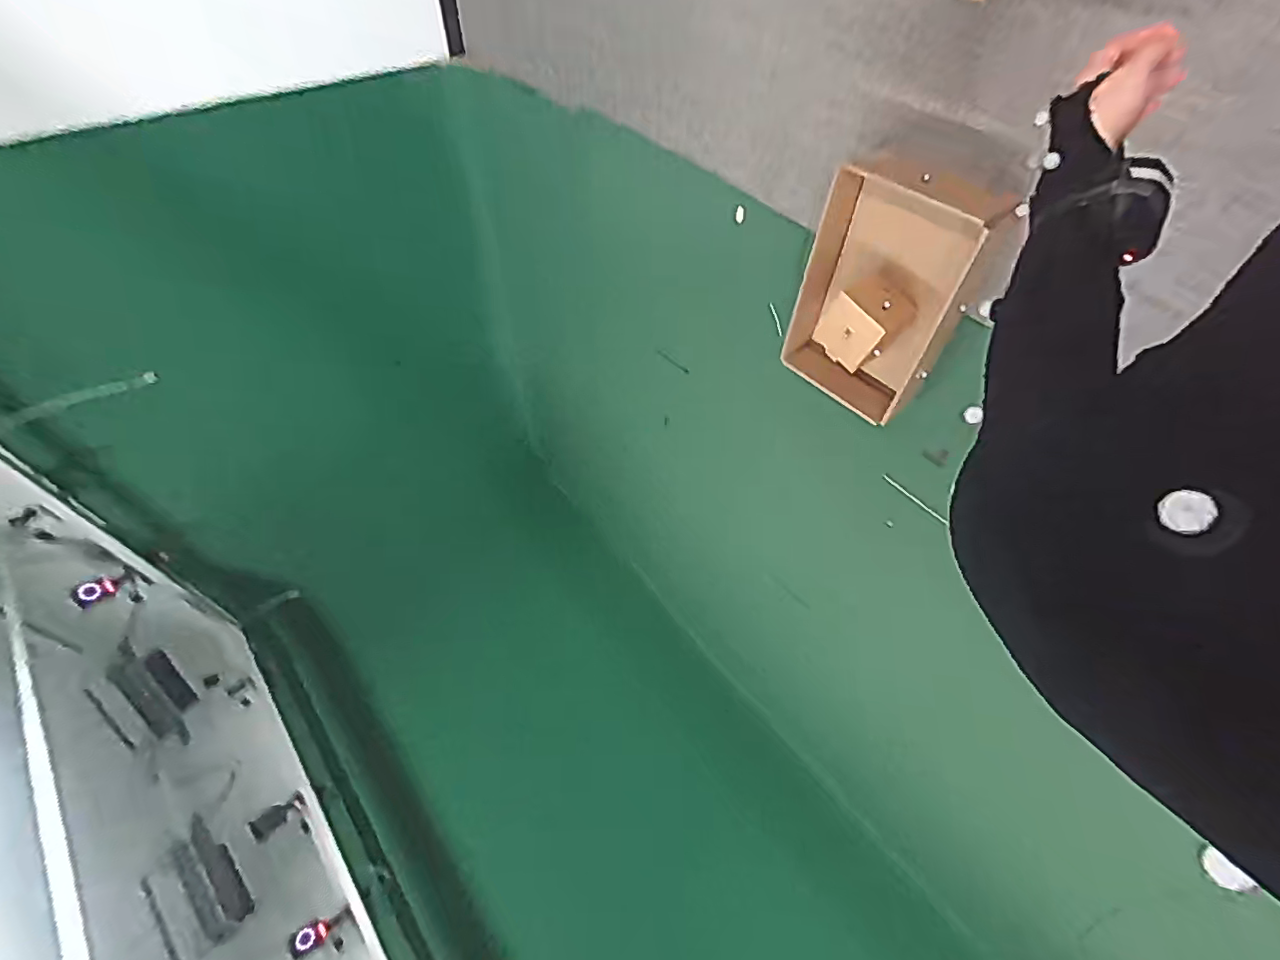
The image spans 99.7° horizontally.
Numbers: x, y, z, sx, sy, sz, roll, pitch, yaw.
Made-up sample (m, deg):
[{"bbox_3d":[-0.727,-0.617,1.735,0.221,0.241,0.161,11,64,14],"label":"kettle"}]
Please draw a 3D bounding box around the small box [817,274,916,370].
[{"bbox_3d":[0.650,-0.454,1.541,0.168,0.176,0.179,50,153,16],"label":"small box"}]
